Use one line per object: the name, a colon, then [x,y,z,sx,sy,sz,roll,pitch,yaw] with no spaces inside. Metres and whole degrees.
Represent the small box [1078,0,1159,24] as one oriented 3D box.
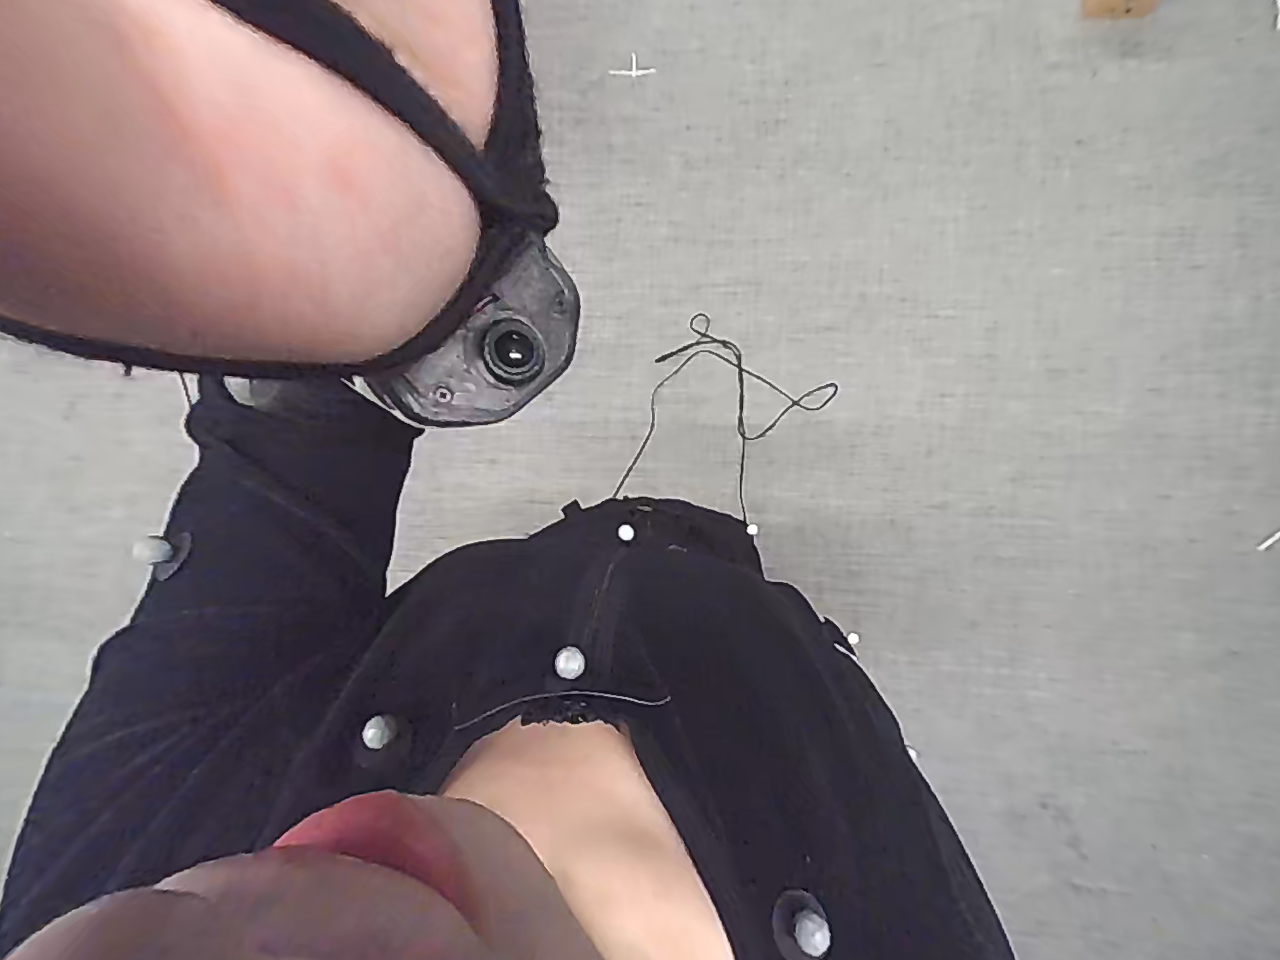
small box: [1.293,-1.346,1.417,0.168,0.176,0.179,2,87,4]
